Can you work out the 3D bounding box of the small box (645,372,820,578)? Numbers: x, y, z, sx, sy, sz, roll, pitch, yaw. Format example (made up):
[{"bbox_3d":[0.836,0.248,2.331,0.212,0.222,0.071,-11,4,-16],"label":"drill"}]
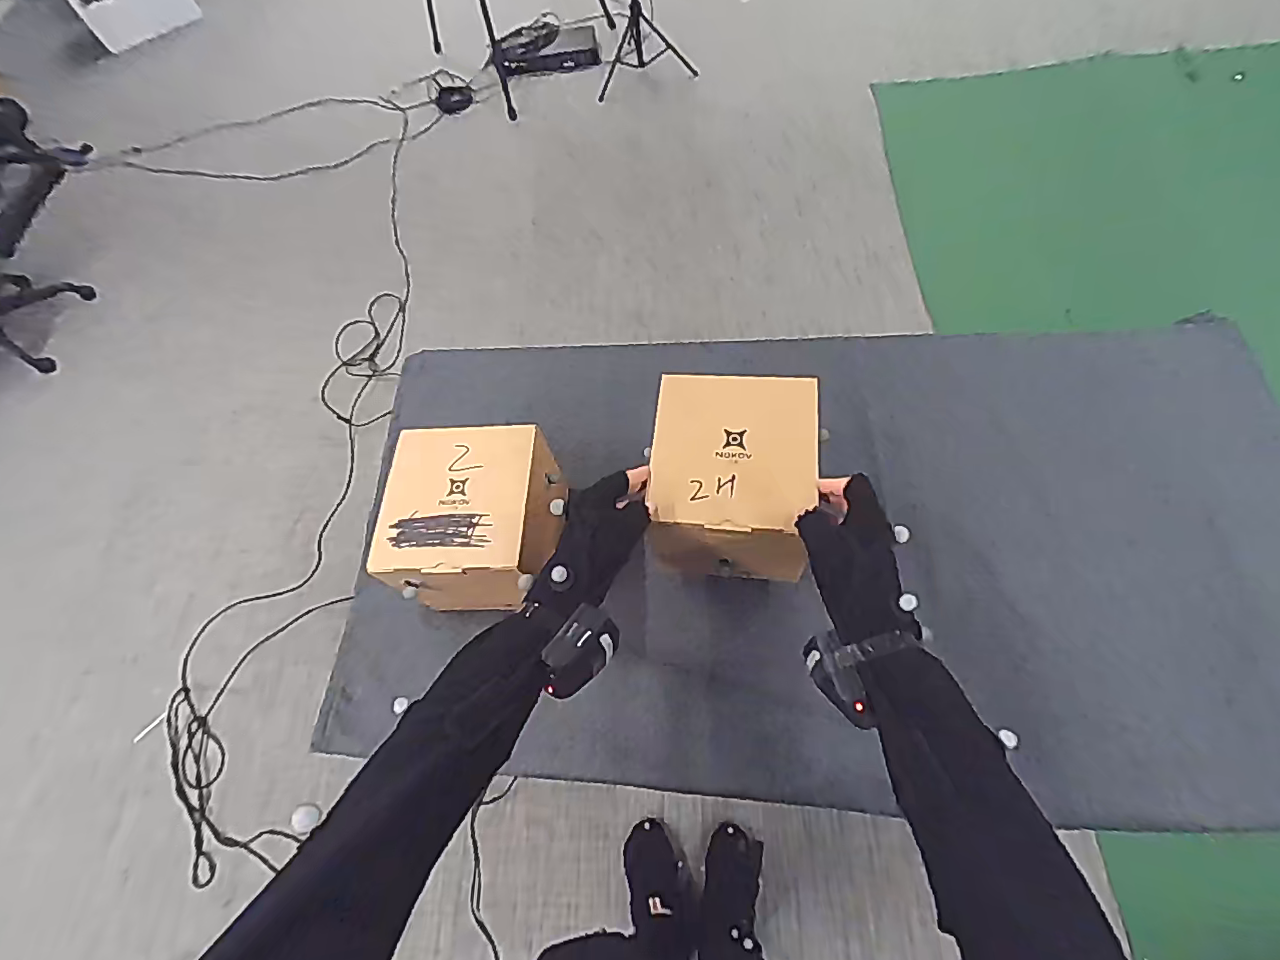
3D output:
[{"bbox_3d":[0.106,-0.001,0.616,0.168,0.176,0.179,4,66,10],"label":"small box"}]
